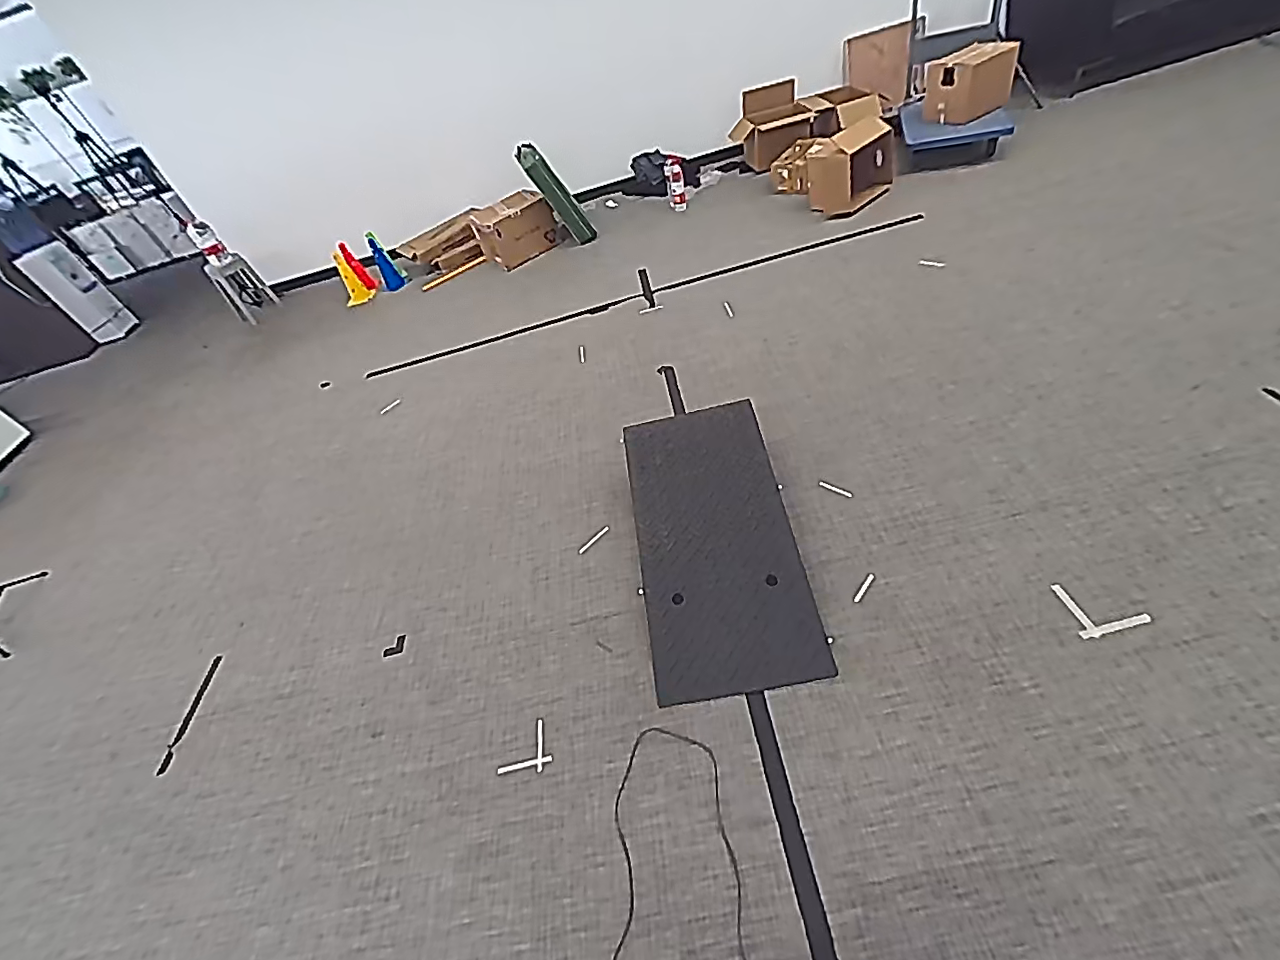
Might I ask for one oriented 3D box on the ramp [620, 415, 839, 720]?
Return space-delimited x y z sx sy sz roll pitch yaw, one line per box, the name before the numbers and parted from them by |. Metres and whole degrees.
ramp | 0.232 0.210 1.753 0.509 0.206 0.991 -15 43 4
